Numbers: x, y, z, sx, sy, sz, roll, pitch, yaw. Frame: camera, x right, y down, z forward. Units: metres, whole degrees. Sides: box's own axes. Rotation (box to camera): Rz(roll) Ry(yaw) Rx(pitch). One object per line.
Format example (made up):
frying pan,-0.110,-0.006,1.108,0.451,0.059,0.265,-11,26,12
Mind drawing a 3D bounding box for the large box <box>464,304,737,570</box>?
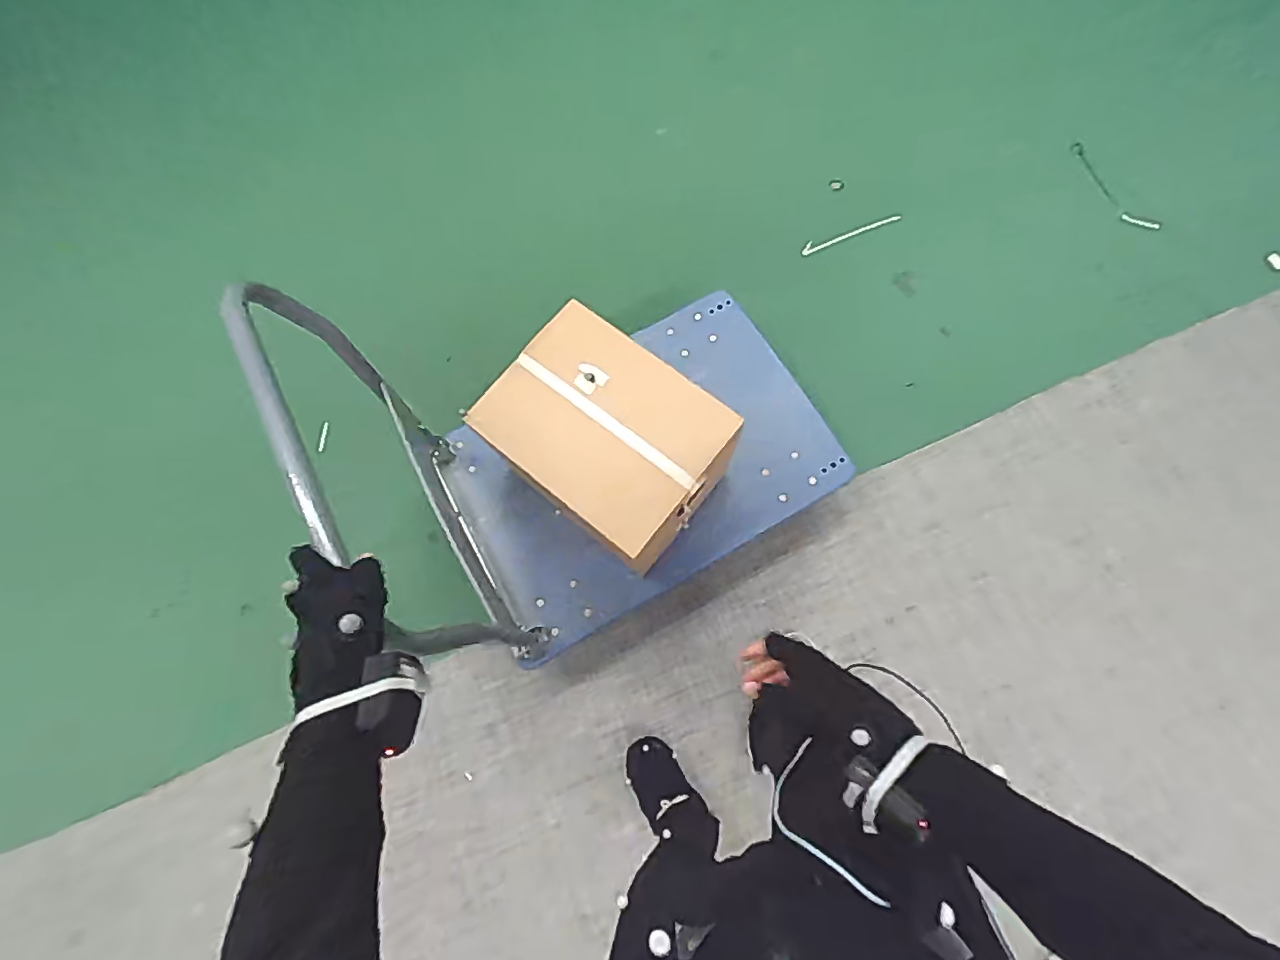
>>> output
large box,-0.062,-0.066,1.104,0.408,0.320,0.320,38,80,13
